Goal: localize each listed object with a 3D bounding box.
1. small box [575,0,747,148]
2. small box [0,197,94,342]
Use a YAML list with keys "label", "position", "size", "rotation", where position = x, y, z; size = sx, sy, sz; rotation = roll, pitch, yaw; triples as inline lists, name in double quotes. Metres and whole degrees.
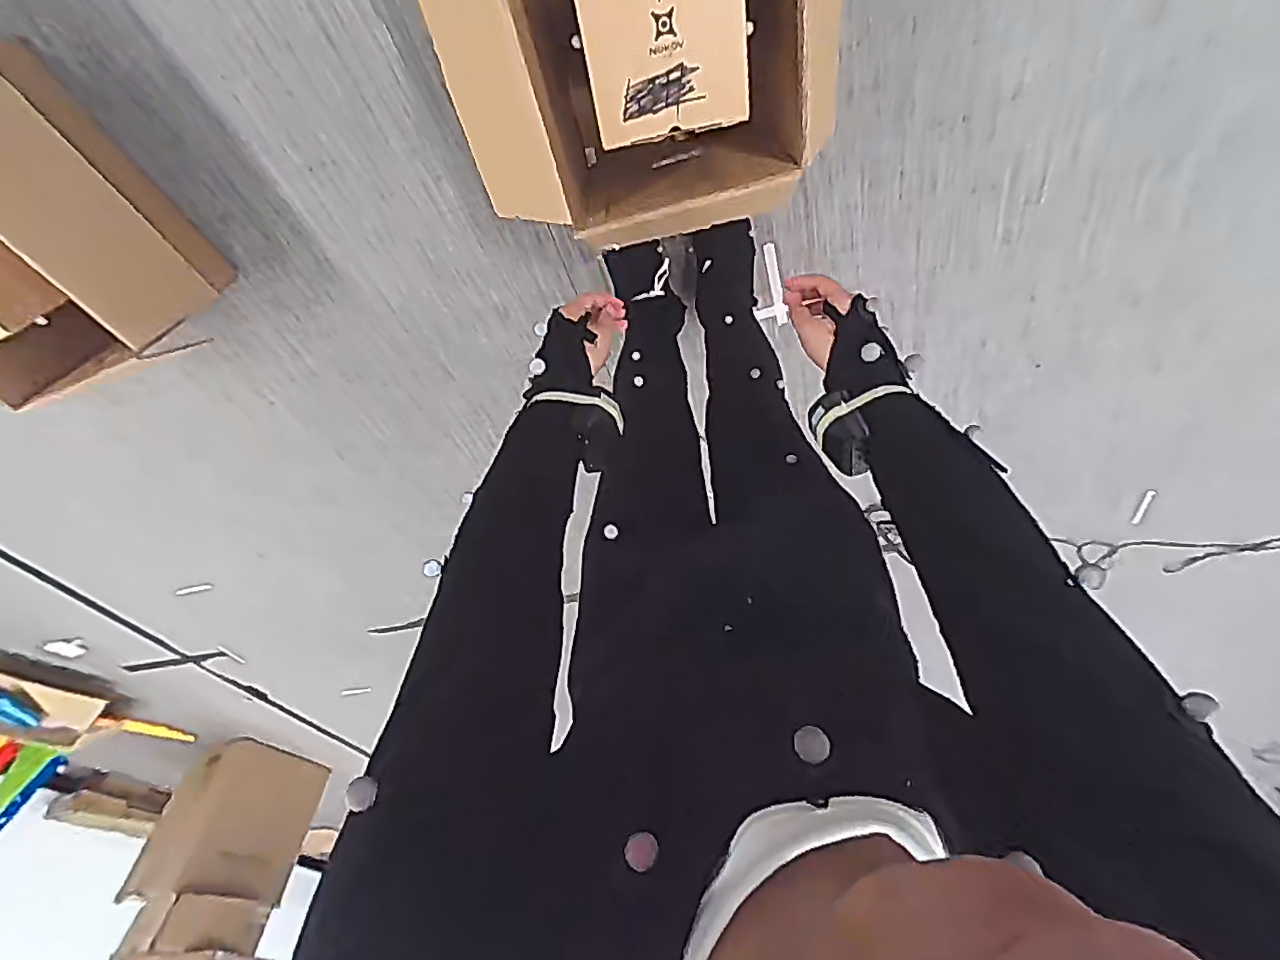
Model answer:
- label: "small box"
  position: [0.023, -0.501, 0.603]
  size: [0.168, 0.176, 0.179]
  rotation: [-9, 131, 5]
- label: "small box"
  position: [-1.006, -0.308, 0.806]
  size: [0.168, 0.176, 0.179]
  rotation: [-13, 133, 14]
